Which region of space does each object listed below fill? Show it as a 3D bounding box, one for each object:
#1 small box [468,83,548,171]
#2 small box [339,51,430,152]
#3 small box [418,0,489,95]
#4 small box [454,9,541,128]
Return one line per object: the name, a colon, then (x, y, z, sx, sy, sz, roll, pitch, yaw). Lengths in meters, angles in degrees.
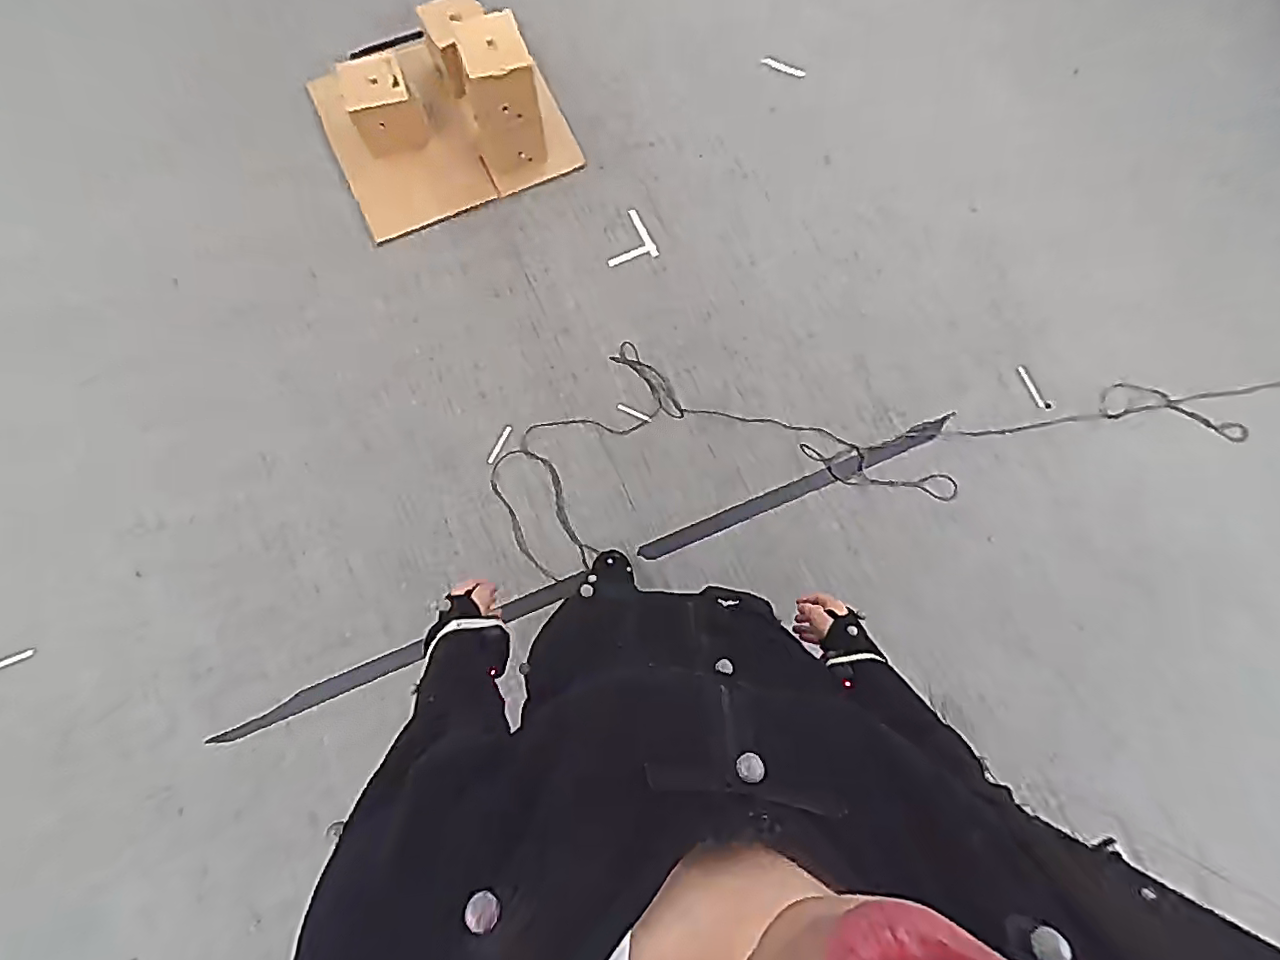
small box: (-0.388, -1.074, 1.616, 0.168, 0.176, 0.179, -24, 83, -6)
small box: (-0.752, -1.112, 1.602, 0.179, 0.176, 0.168, -16, 82, -4)
small box: (-0.540, -1.340, 1.656, 0.179, 0.176, 0.168, -29, 82, -8)
small box: (-0.378, -1.101, 1.456, 0.168, 0.176, 0.179, -21, 83, -6)
